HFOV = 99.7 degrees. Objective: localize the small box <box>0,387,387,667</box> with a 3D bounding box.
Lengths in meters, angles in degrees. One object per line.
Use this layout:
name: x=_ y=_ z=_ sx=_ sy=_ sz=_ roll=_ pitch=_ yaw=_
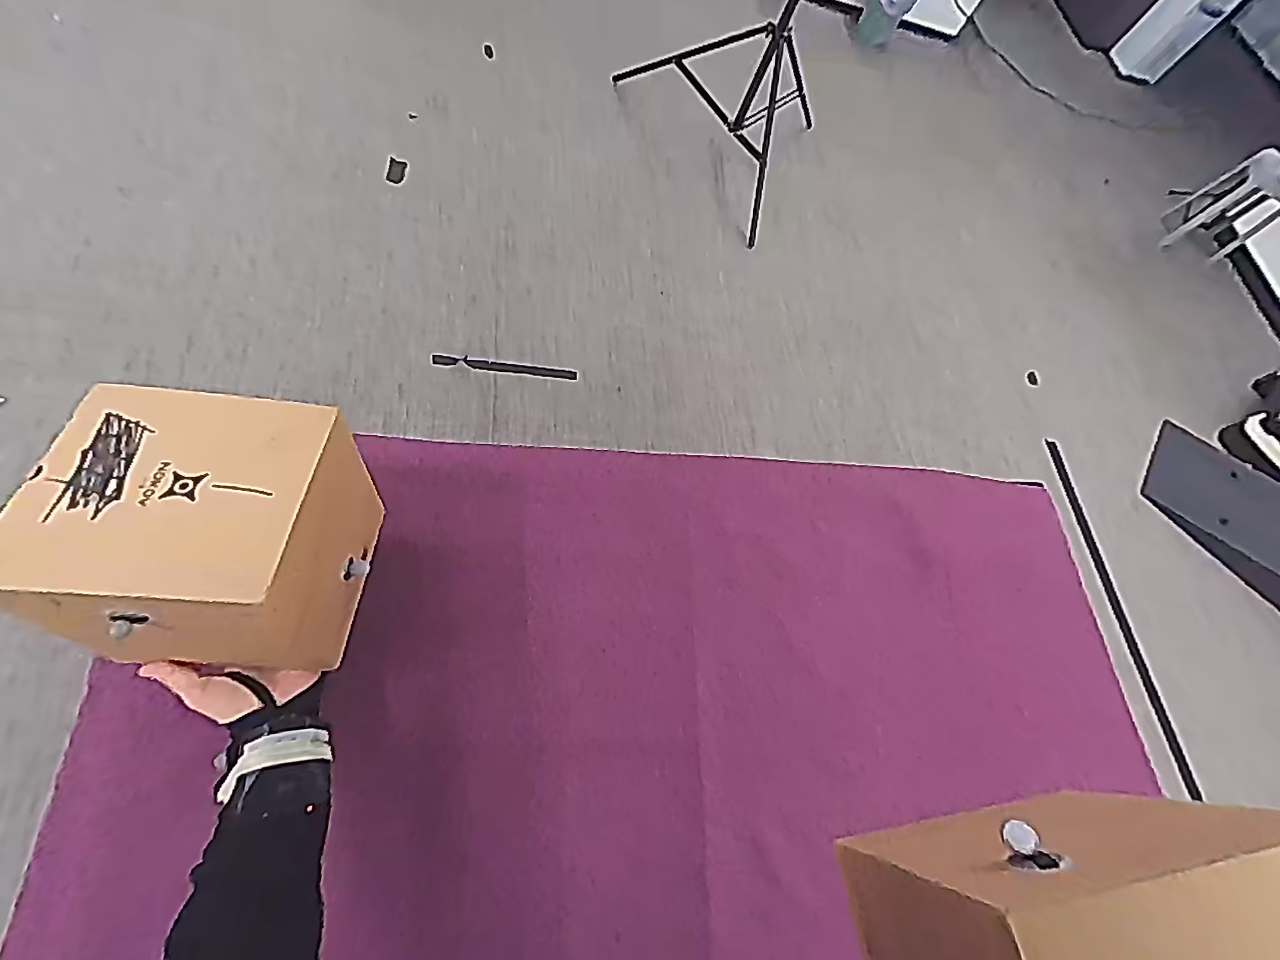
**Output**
small box: x=-0.333 y=0.047 z=0.444 sx=0.179 sy=0.176 sz=0.168 roll=5 pitch=56 yaw=-8
